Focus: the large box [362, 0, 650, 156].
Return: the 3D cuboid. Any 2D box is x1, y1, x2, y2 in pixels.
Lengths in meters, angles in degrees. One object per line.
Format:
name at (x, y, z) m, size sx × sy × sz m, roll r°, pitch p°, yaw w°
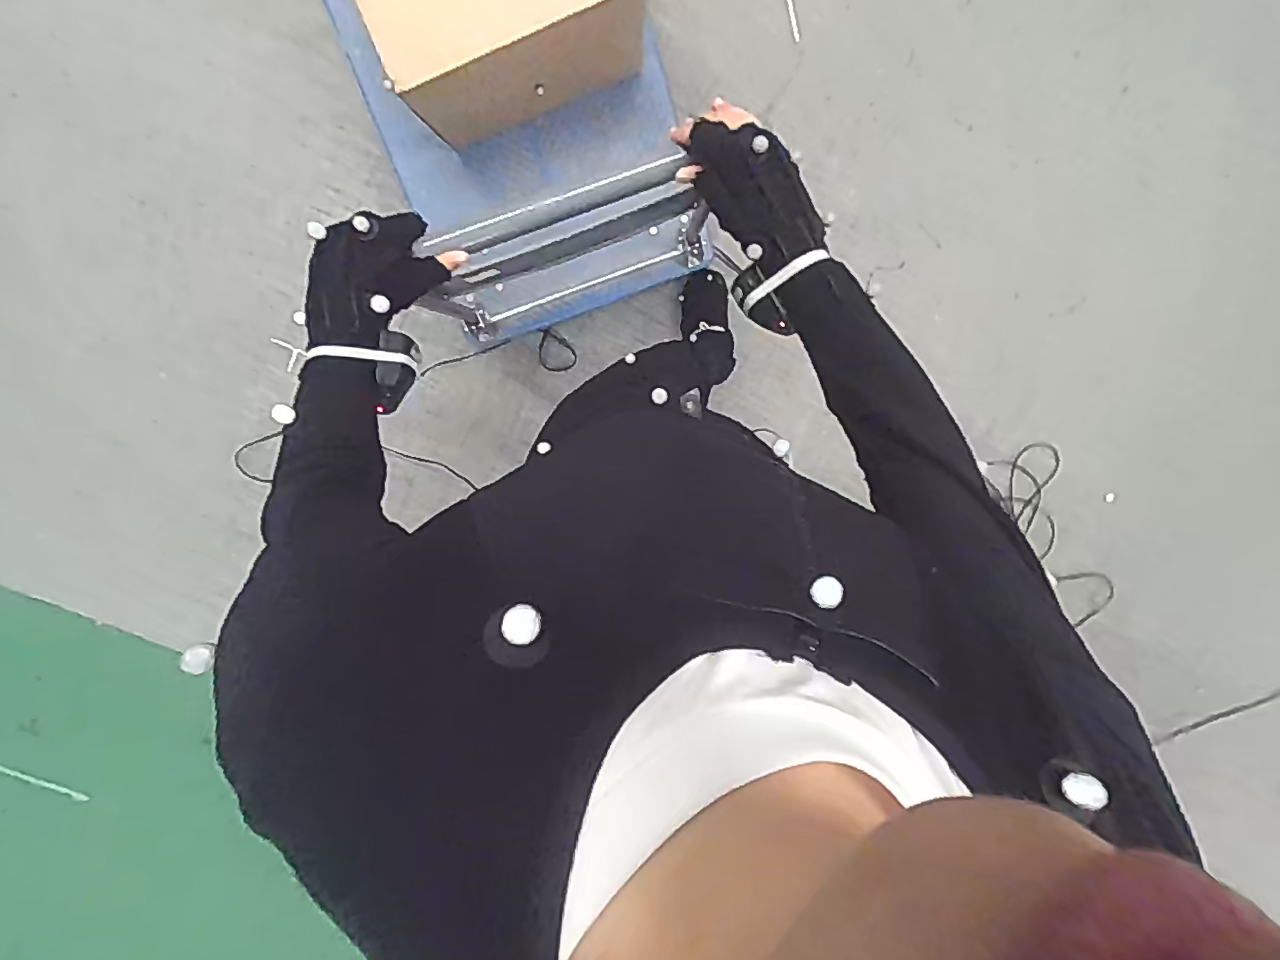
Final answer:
large box at (-0.225, -0.819, 0.904) m, size 0.408 × 0.320 × 0.320 m, roll -21°, pitch 106°, yaw 6°
